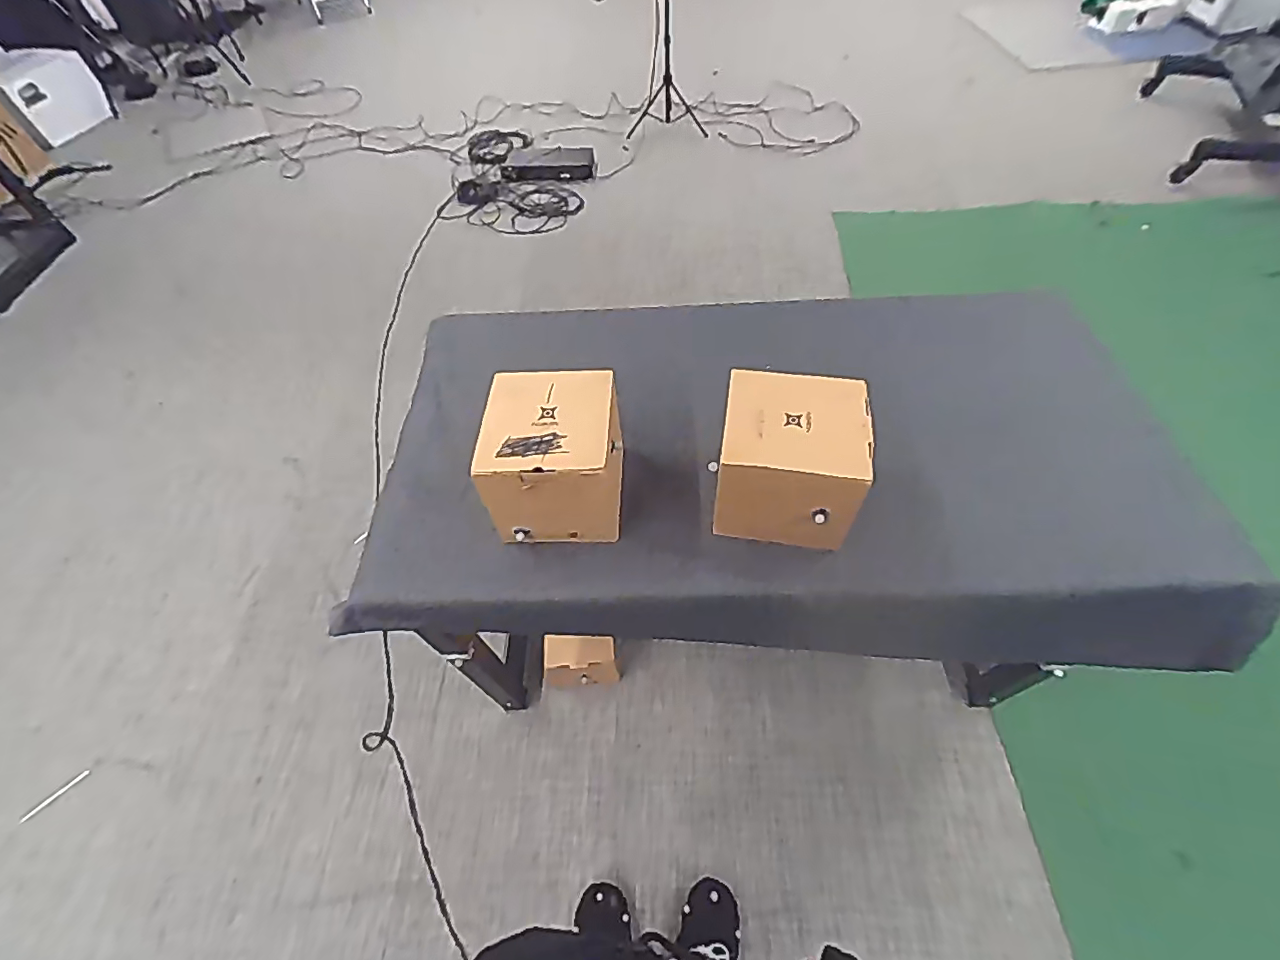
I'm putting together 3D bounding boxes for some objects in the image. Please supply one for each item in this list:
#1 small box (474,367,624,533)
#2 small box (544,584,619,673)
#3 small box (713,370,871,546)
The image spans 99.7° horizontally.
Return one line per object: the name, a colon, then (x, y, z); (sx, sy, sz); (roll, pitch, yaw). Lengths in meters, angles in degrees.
small box: (-0.113, -0.037, 0.760); (0.168, 0.176, 0.179); (1, 54, 3)
small box: (-0.144, 0.379, 1.365); (0.168, 0.176, 0.179); (-5, 56, 0)
small box: (0.199, -0.025, 0.739); (0.179, 0.176, 0.168); (7, 55, 9)
